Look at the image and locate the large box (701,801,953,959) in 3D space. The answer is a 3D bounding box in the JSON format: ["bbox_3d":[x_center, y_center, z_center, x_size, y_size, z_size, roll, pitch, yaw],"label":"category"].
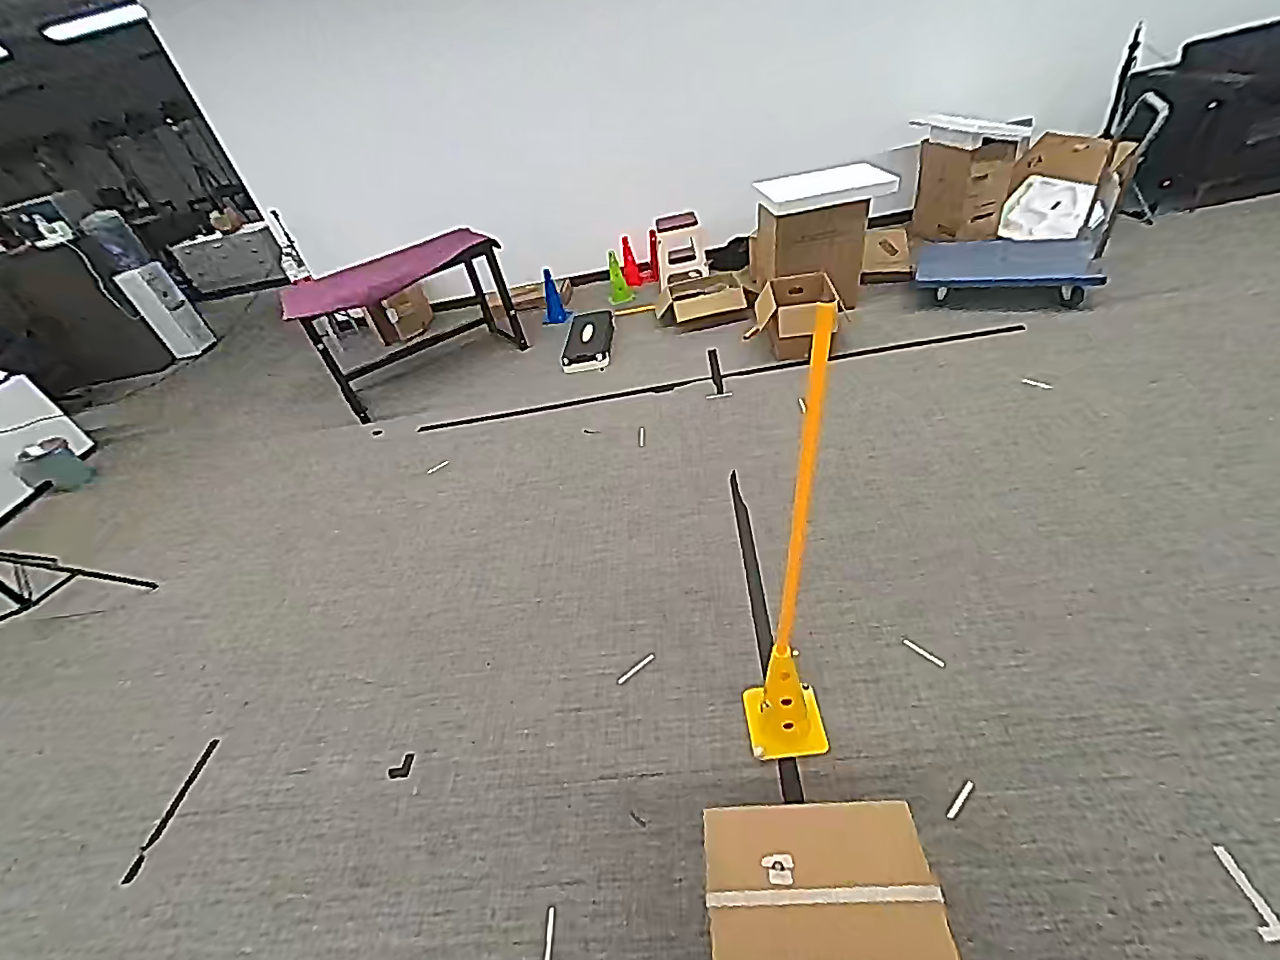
[{"bbox_3d":[0.348,0.875,1.068,0.408,0.320,0.320,-8,37,8],"label":"large box"}]
